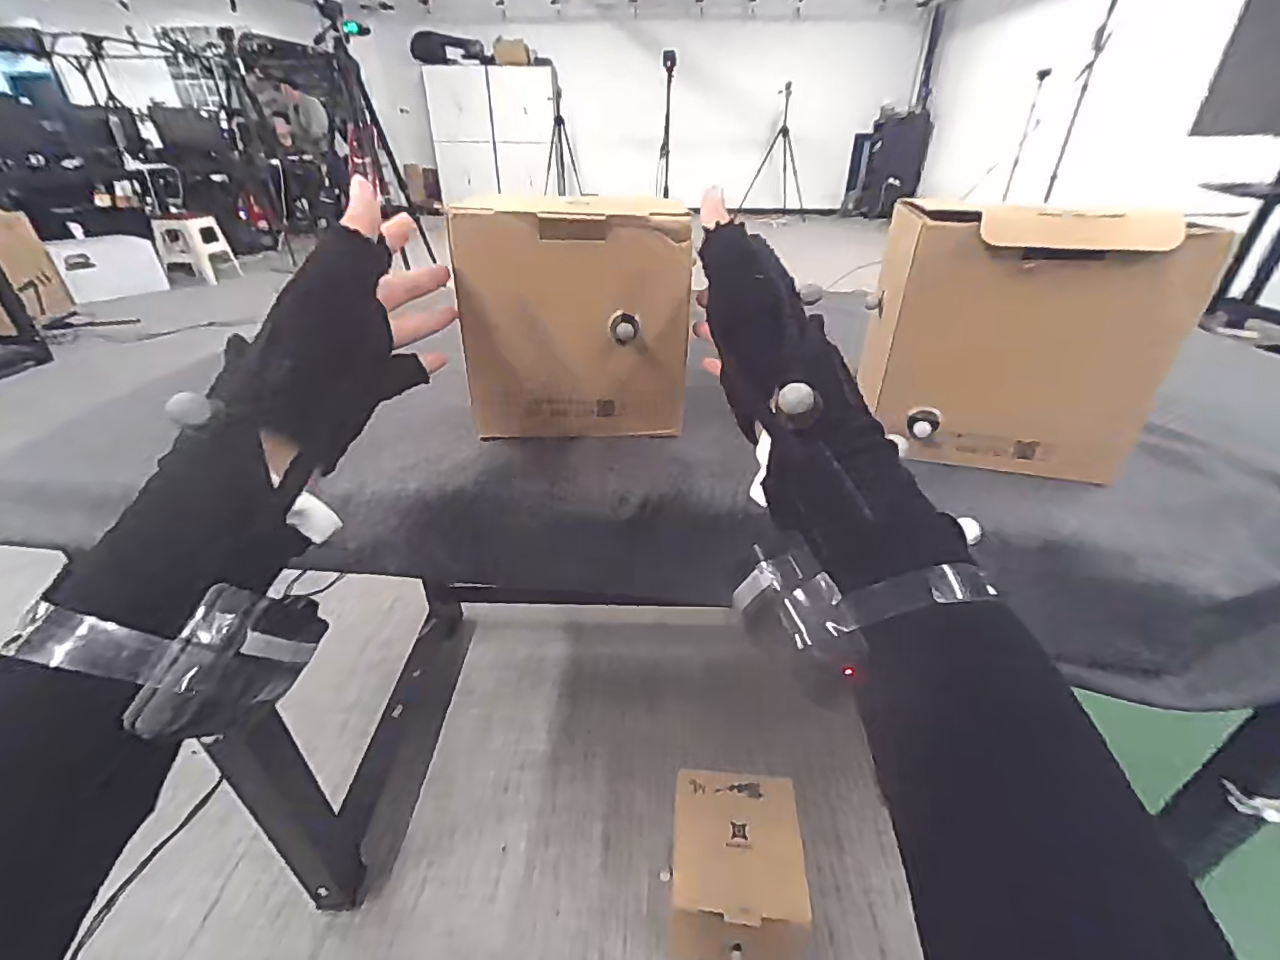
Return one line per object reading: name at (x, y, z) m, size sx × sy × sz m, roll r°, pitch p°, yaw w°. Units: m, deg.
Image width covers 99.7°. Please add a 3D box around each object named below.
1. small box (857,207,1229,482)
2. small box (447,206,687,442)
small box at (0.275, -0.115, 0.427) m, size 0.168 × 0.176 × 0.179 m, roll 9°, pitch 32°, yaw 15°
small box at (-0.052, -0.140, 0.471) m, size 0.168 × 0.176 × 0.179 m, roll 0°, pitch 29°, yaw -3°
